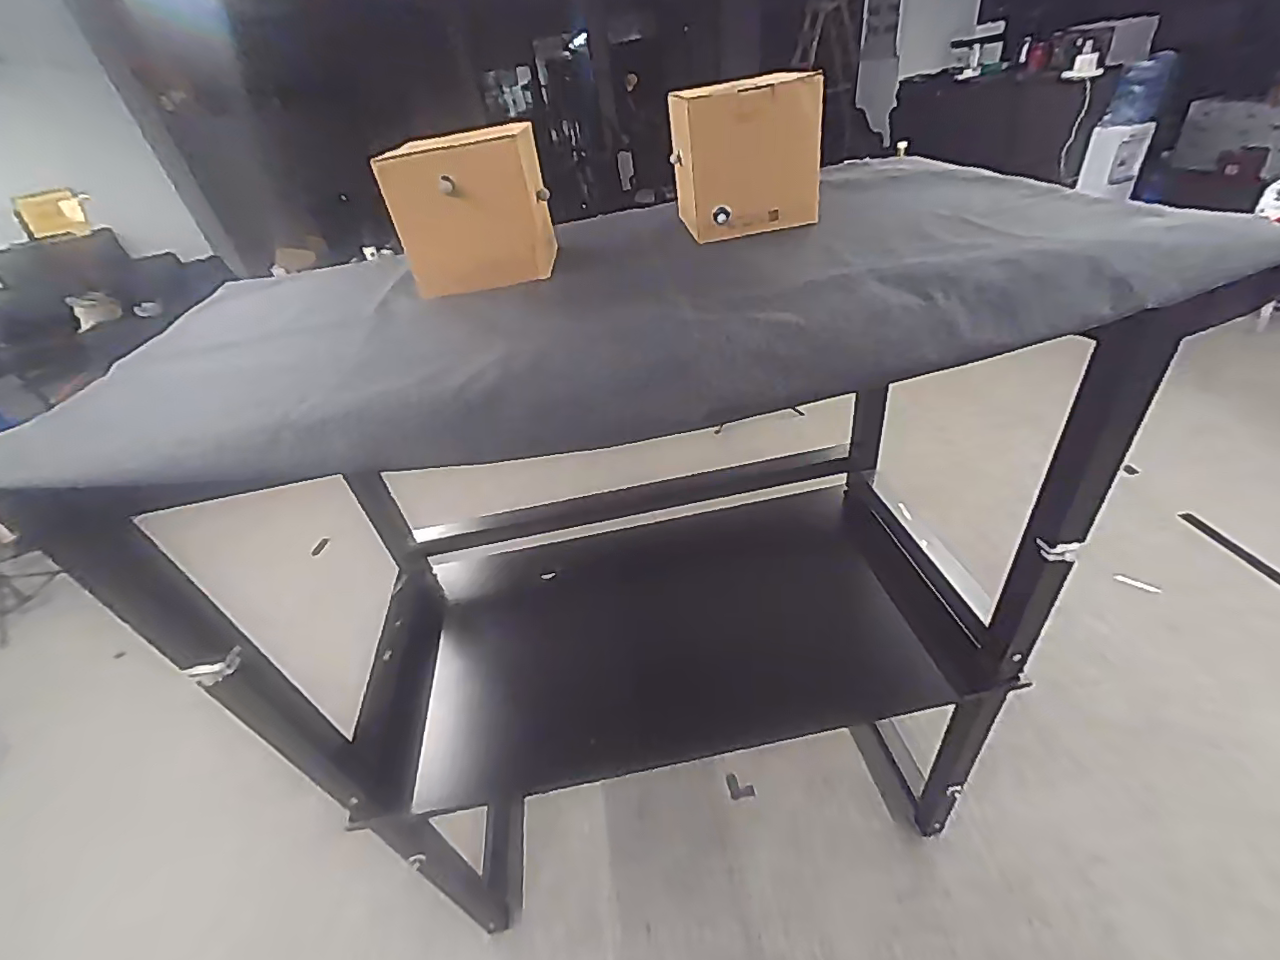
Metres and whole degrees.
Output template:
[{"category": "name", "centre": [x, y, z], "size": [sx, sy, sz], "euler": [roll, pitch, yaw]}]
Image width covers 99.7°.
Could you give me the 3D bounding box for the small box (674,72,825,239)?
[{"category": "small box", "centre": [0.146, -0.446, 0.752], "size": [0.168, 0.176, 0.179], "euler": [-9, 37, 1]}]

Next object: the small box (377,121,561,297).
[{"category": "small box", "centre": [-0.211, -0.365, 0.730], "size": [0.179, 0.176, 0.168], "euler": [-8, 38, 3]}]
